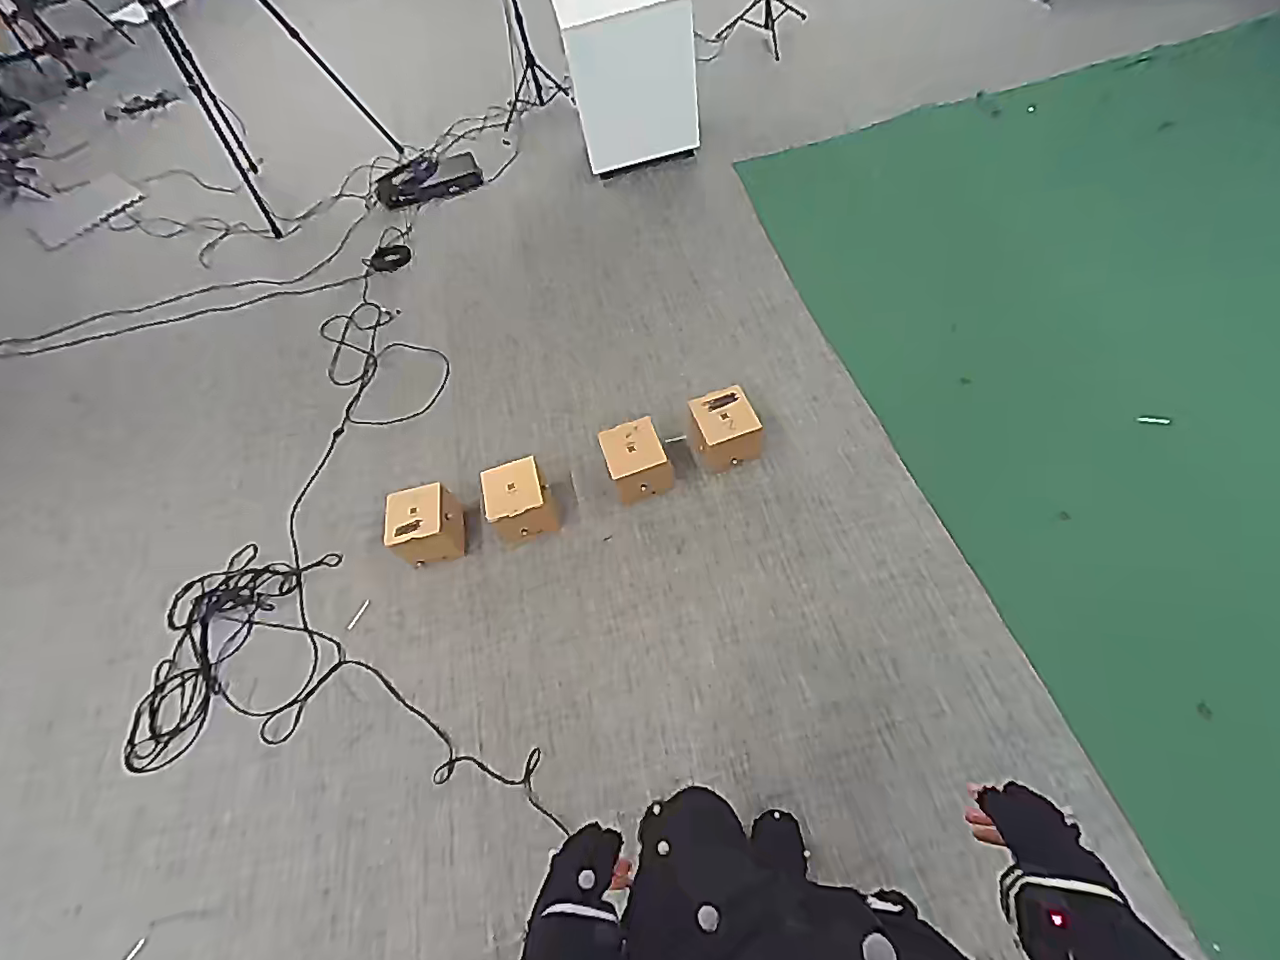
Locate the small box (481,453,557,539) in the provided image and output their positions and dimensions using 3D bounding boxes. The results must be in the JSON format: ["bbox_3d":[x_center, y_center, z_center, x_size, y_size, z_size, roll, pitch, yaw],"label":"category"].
[{"bbox_3d":[-0.362,0.051,1.623,0.168,0.176,0.179,-18,60,-1],"label":"small box"}]

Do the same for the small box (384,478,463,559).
[{"bbox_3d":[-0.643,0.124,1.625,0.168,0.176,0.179,-14,58,1],"label":"small box"}]

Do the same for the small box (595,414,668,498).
[{"bbox_3d":[-0.021,-0.063,1.632,0.168,0.176,0.179,-19,59,-3],"label":"small box"}]
